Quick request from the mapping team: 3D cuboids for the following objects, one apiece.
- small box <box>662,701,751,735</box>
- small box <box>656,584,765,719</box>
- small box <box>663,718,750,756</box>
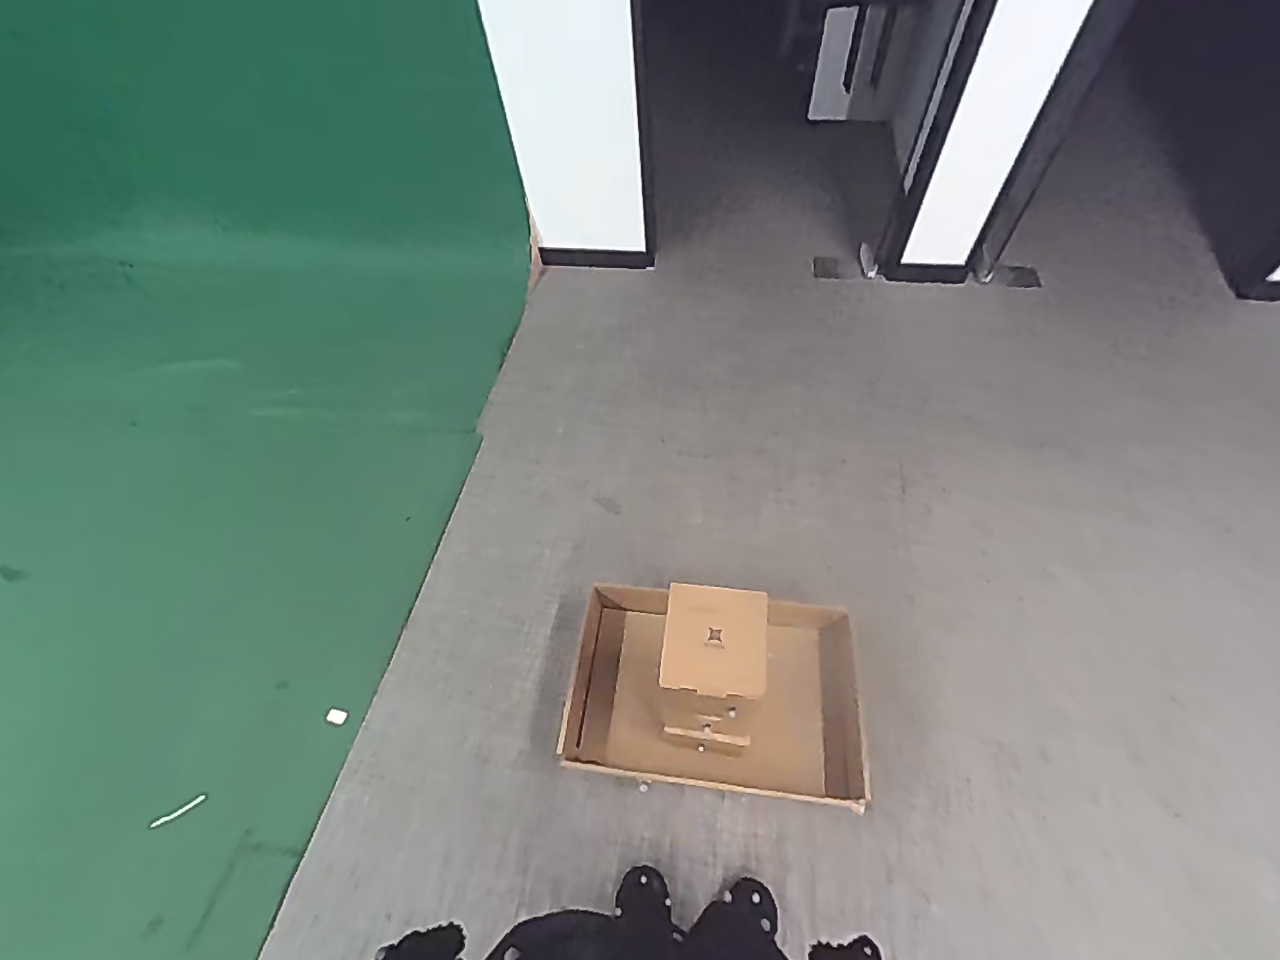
[{"bbox_3d":[0.137,0.403,1.089,0.168,0.176,0.179,2,55,8],"label":"small box"},{"bbox_3d":[0.123,0.302,0.939,0.168,0.176,0.179,5,55,7],"label":"small box"},{"bbox_3d":[0.153,0.508,1.211,0.179,0.176,0.168,6,55,10],"label":"small box"}]
